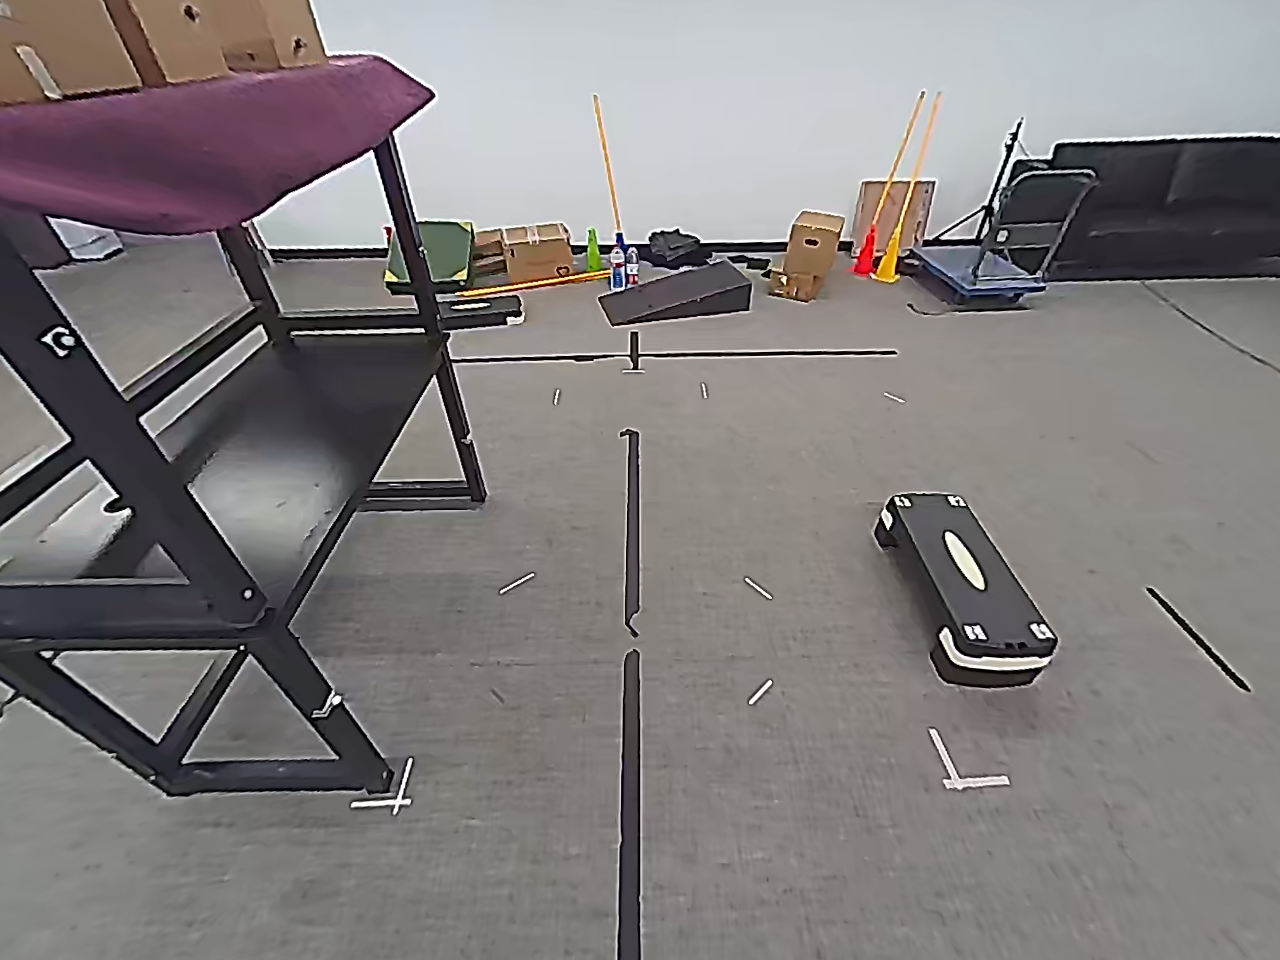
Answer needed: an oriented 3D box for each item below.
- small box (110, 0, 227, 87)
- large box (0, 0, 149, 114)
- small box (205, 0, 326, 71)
[{"bbox_3d":[-0.828,-0.753,0.883,0.168,0.176,0.179,-1,40,1],"label":"small box"},{"bbox_3d":[-0.888,-0.569,0.560,0.408,0.320,0.320,-1,39,1],"label":"large box"},{"bbox_3d":[-0.821,-1.001,1.176,0.168,0.176,0.179,5,40,8],"label":"small box"}]
